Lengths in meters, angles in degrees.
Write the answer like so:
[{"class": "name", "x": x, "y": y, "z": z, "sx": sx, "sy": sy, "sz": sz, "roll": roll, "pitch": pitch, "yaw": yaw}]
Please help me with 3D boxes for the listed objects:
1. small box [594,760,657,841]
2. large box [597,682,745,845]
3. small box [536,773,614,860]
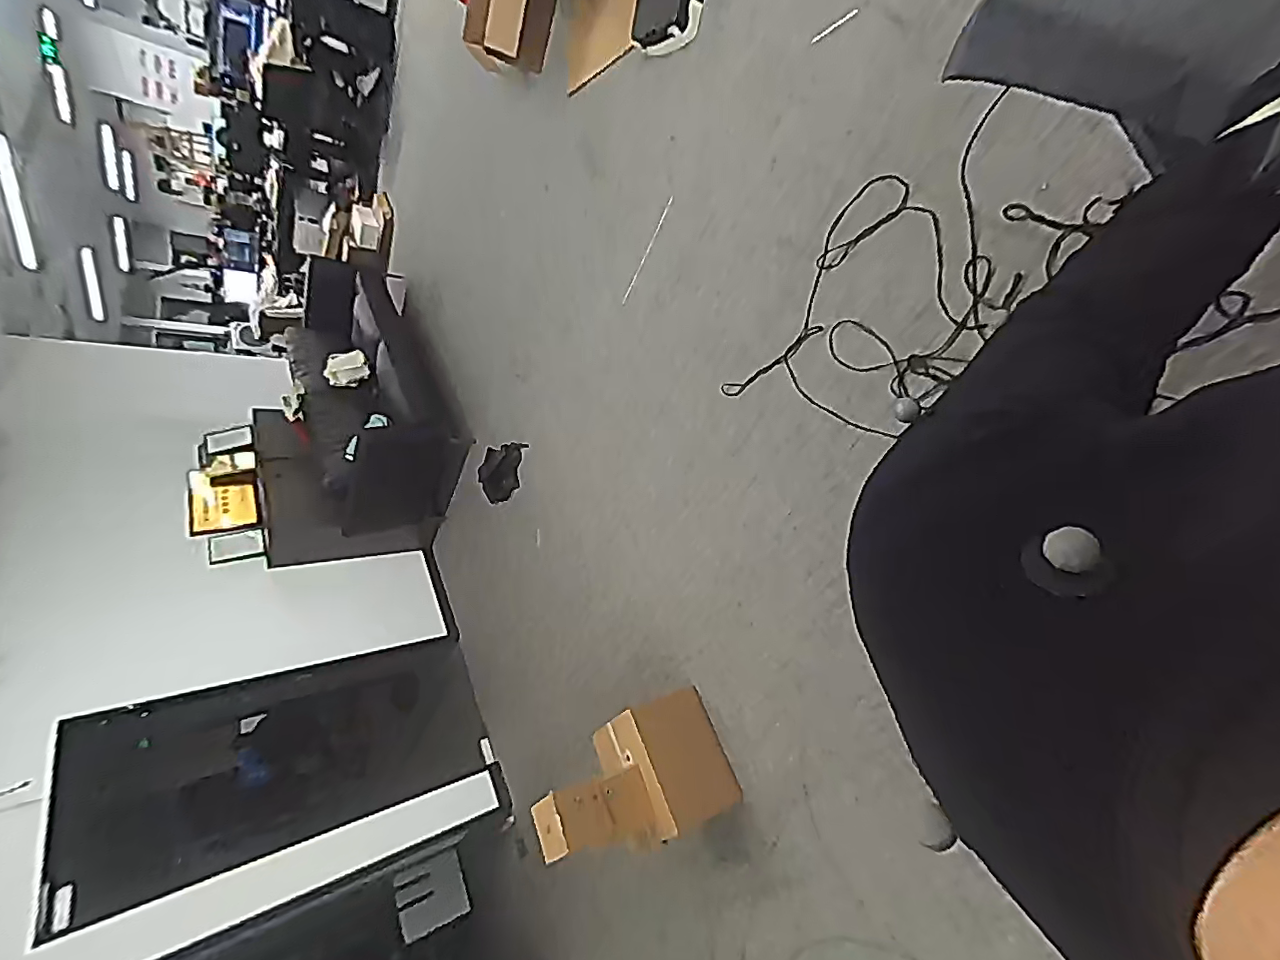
[{"class": "small box", "x": -0.070, "y": 1.057, "z": 1.785, "sx": 0.168, "sy": 0.176, "sz": 0.179, "roll": -46, "pitch": 57, "yaw": 43}, {"class": "large box", "x": 0.102, "y": 1.012, "z": 1.955, "sx": 0.320, "sy": 0.320, "sz": 0.408, "roll": -51, "pitch": 53, "yaw": 39}, {"class": "small box", "x": -0.199, "y": 1.044, "z": 1.687, "sx": 0.179, "sy": 0.176, "sz": 0.168, "roll": -56, "pitch": 50, "yaw": 40}]
